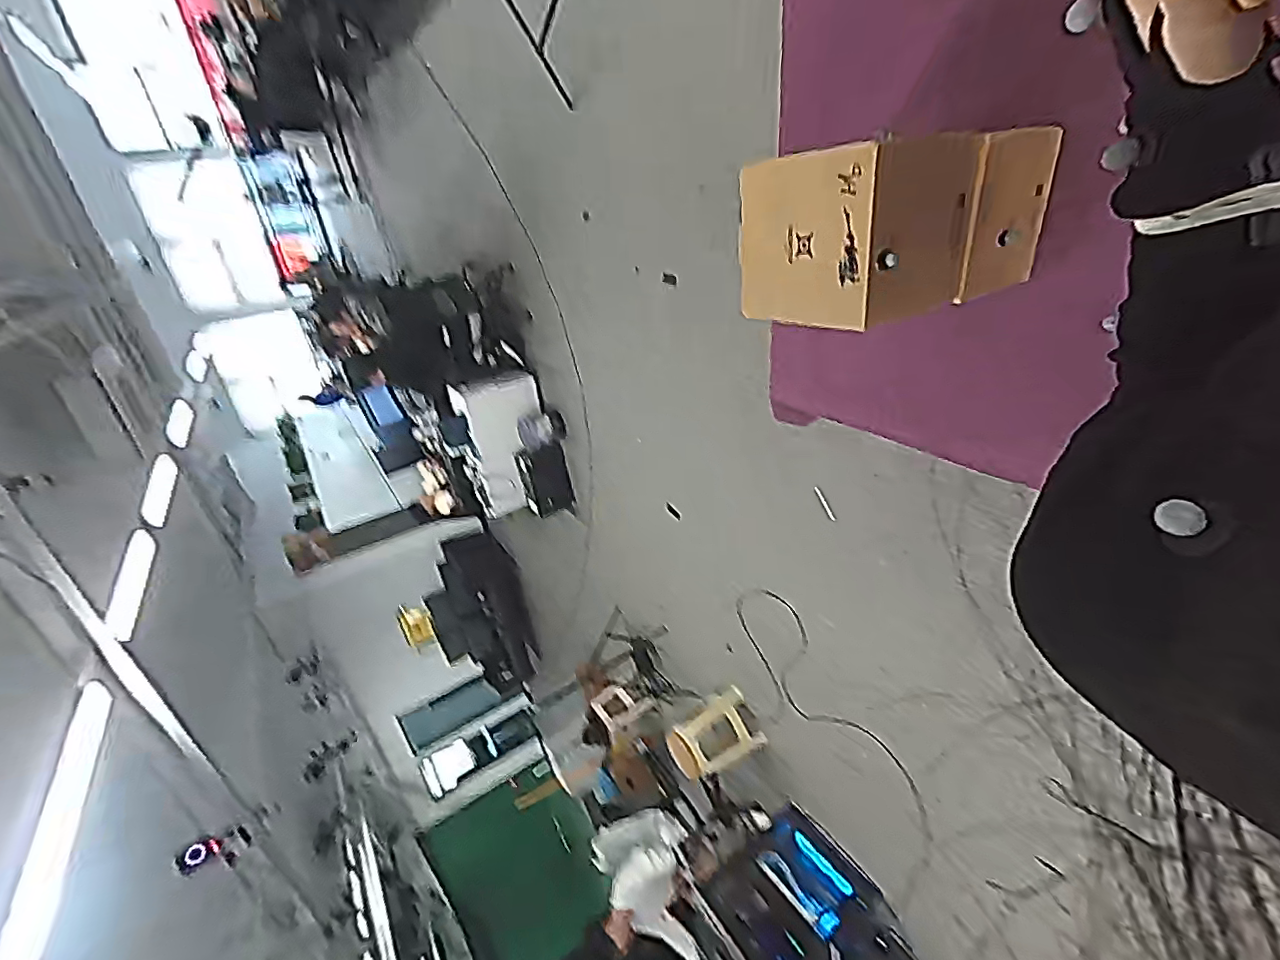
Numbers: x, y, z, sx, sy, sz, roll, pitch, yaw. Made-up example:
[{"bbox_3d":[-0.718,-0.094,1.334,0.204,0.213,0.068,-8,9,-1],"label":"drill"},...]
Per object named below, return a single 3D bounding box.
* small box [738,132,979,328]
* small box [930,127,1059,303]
[{"bbox_3d":[0.231,-0.276,0.600,0.179,0.176,0.168,31,136,51],"label":"small box"},{"bbox_3d":[0.370,-0.327,0.669,0.179,0.176,0.168,32,137,50],"label":"small box"}]
